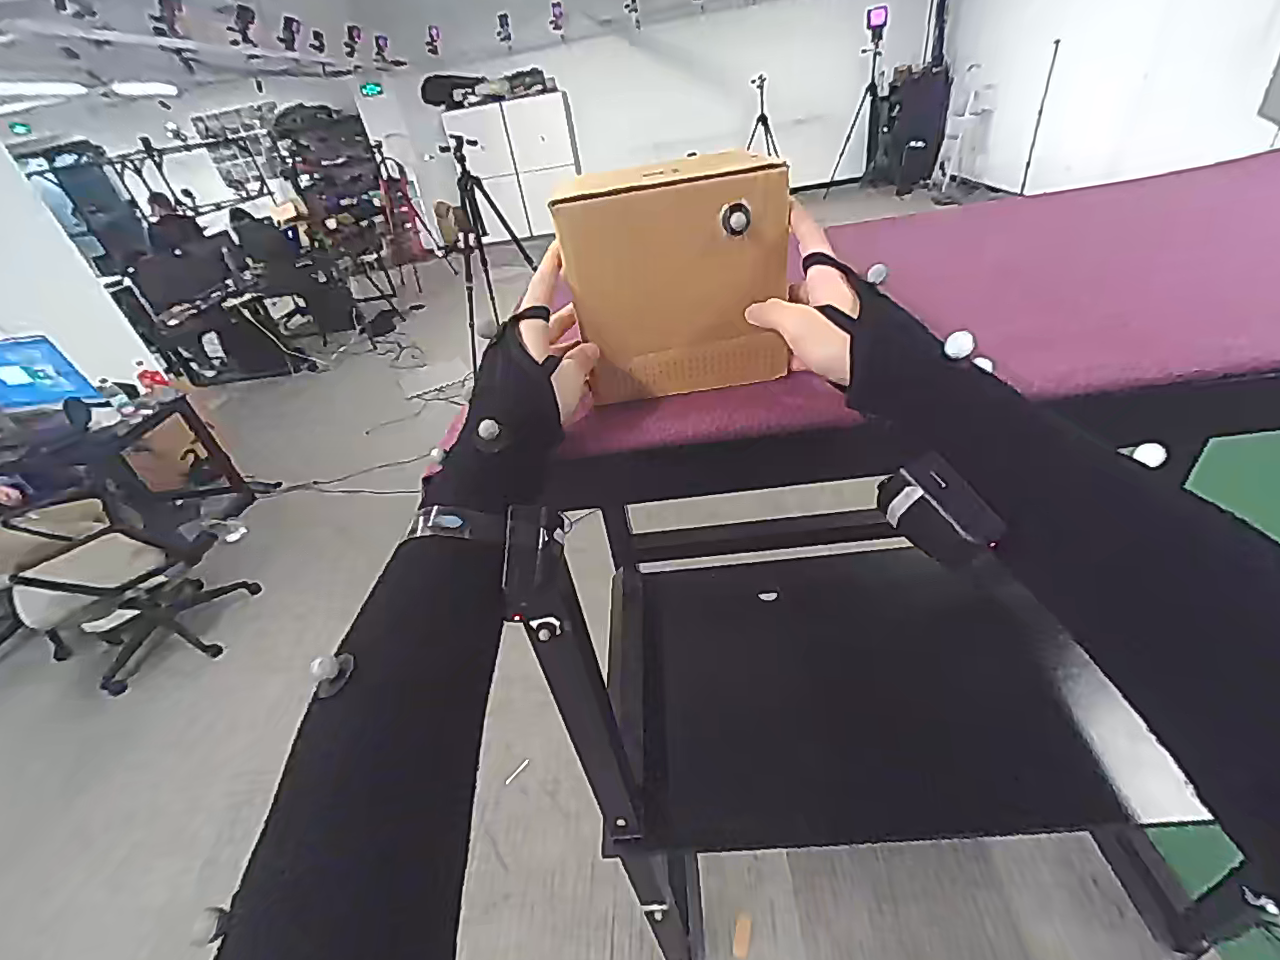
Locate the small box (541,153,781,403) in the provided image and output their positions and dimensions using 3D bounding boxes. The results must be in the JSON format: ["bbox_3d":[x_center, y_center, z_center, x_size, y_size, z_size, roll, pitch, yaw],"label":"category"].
[{"bbox_3d":[0.024,-0.184,0.495,0.179,0.176,0.168,-9,35,3],"label":"small box"}]
